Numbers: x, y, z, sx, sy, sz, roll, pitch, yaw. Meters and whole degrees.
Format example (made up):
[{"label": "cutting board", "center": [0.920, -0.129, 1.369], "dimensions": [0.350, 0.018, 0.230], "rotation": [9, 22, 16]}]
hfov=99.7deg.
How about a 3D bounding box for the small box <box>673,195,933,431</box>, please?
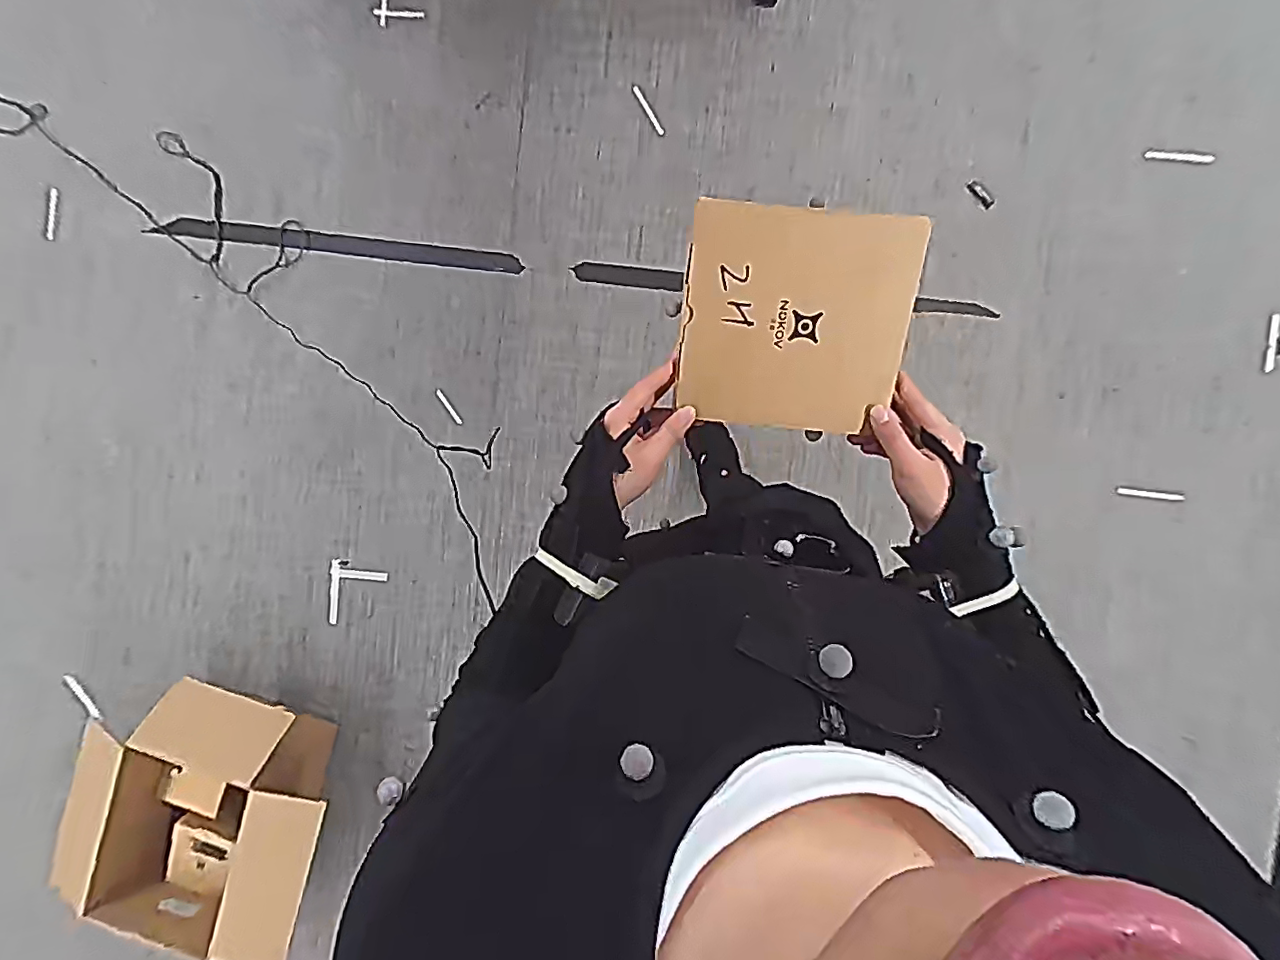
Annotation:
[{"label": "small box", "center": [0.126, -0.151, 0.497], "dimensions": [0.179, 0.176, 0.168], "rotation": [6, 109, 2]}]
